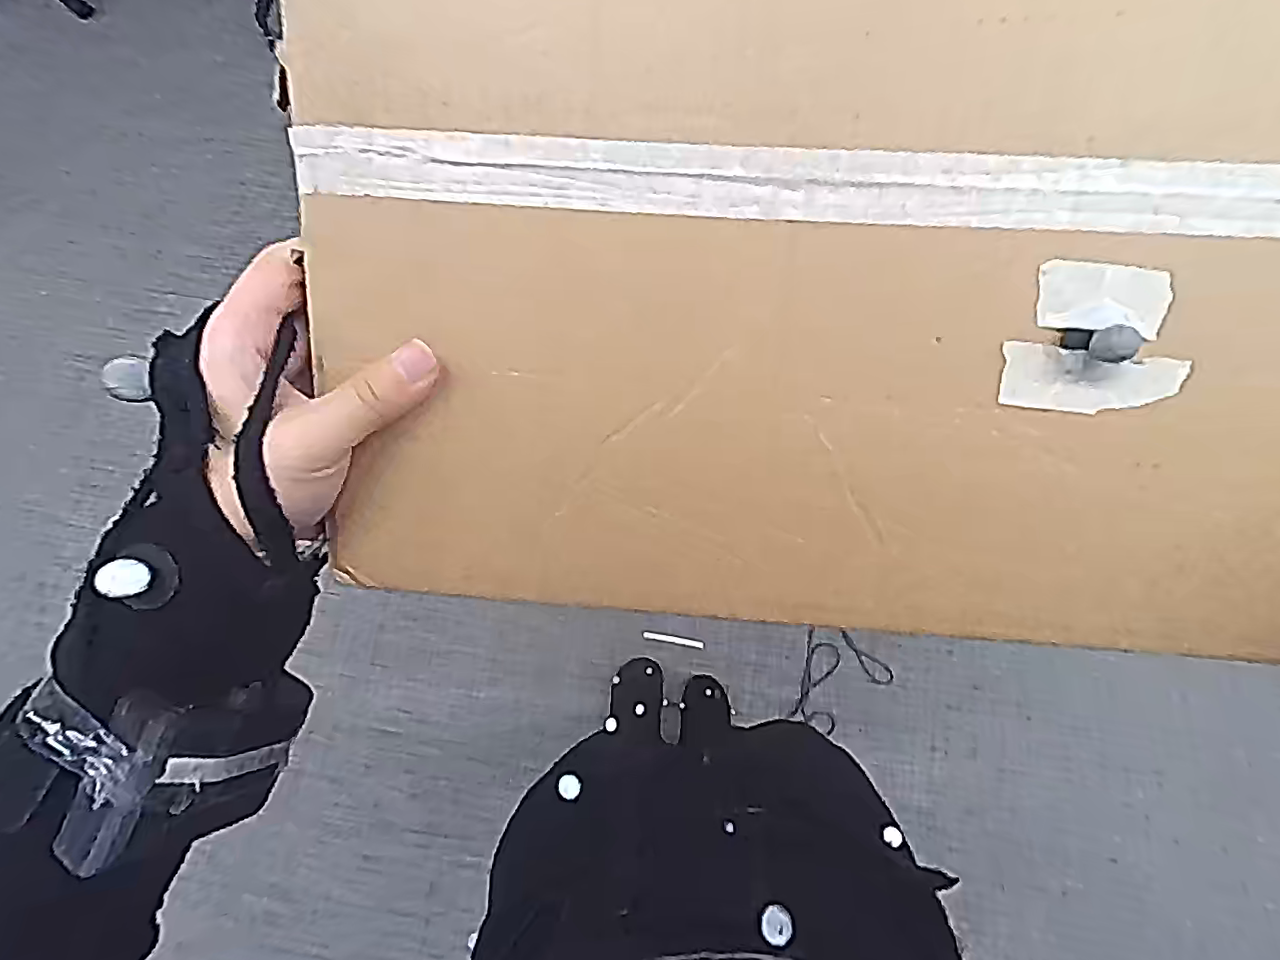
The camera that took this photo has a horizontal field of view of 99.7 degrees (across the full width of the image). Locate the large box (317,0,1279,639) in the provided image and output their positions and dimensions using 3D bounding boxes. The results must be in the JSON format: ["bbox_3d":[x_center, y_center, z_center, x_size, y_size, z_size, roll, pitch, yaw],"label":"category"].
[{"bbox_3d":[0.091,-0.123,0.333,0.408,0.320,0.320,3,103,1],"label":"large box"}]
